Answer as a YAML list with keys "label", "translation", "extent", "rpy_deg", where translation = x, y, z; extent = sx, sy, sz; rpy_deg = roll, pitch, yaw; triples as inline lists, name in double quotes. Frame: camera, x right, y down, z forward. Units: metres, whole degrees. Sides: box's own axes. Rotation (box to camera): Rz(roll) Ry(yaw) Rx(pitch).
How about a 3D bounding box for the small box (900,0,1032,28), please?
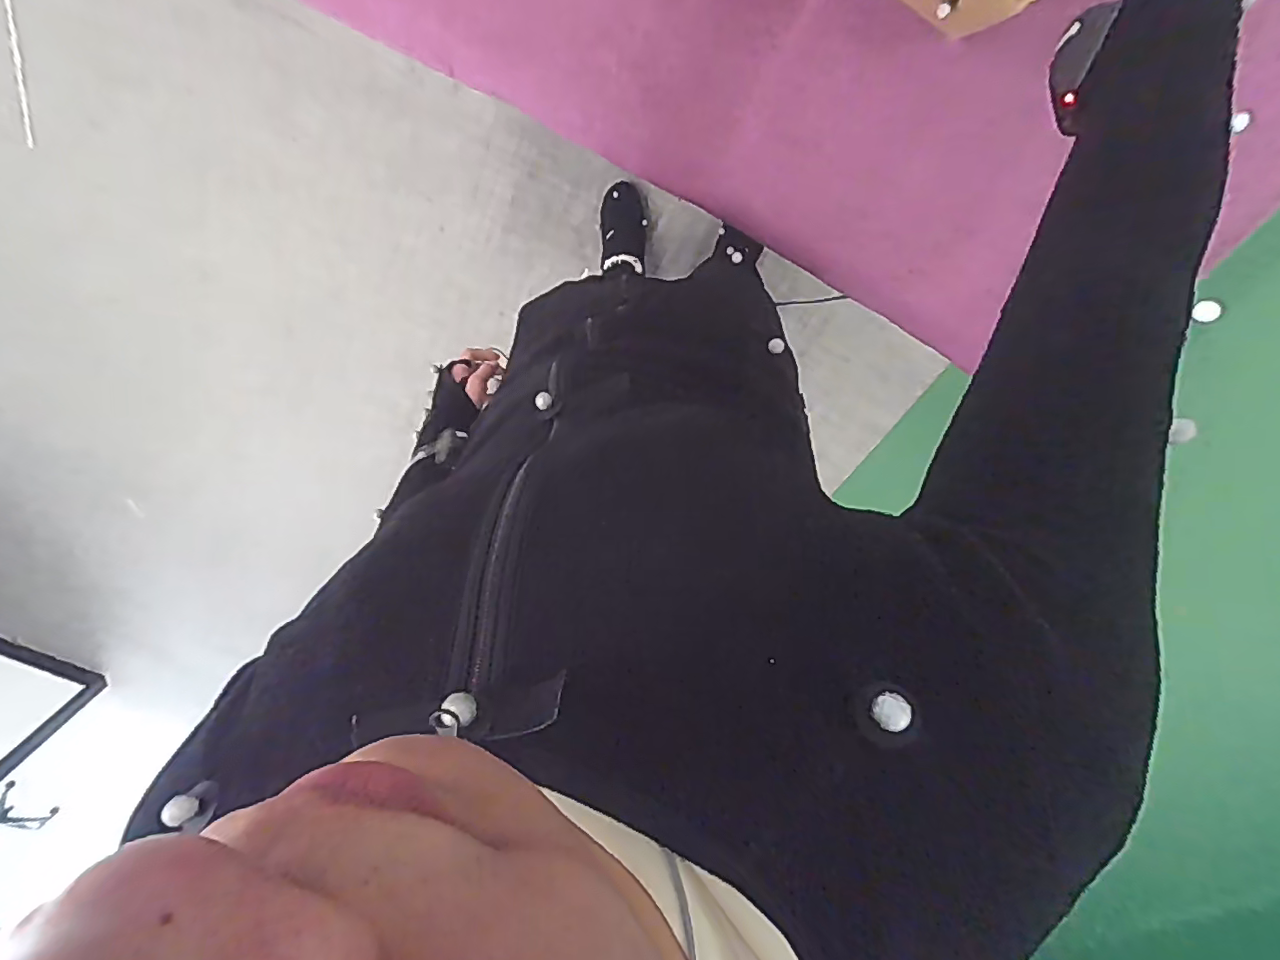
- label: "small box"
  translation: [0.294, -0.530, 0.461]
  extent: [0.179, 0.176, 0.168]
  rpy_deg: [29, 122, -9]
